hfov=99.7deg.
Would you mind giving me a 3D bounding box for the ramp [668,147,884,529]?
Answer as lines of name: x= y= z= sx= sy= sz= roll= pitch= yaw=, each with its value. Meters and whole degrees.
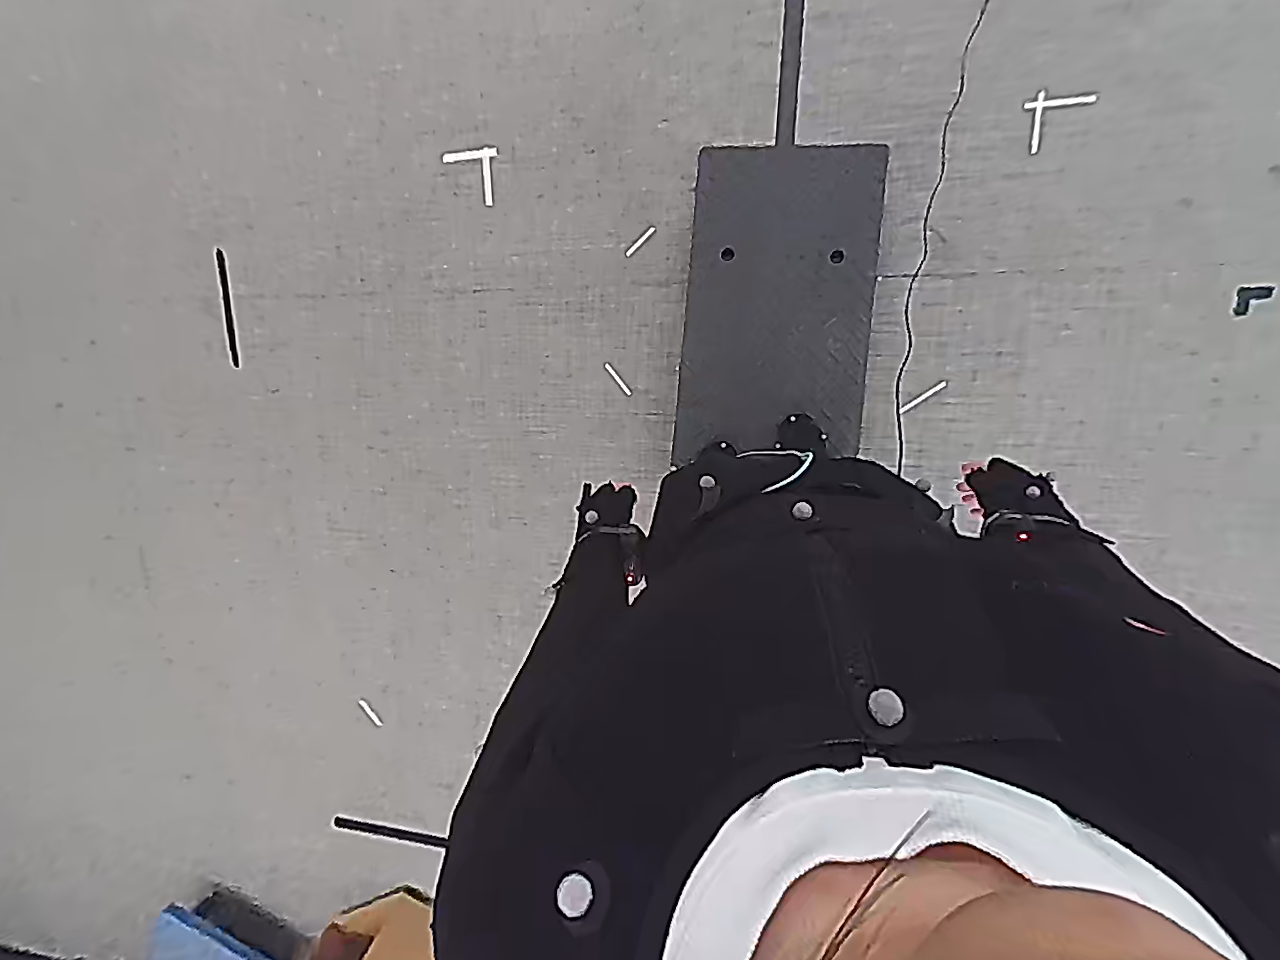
ramp: x=0.353 y=-0.385 z=1.451 sx=0.509 sy=0.206 sz=0.991 roll=4 pitch=100 yaw=12
